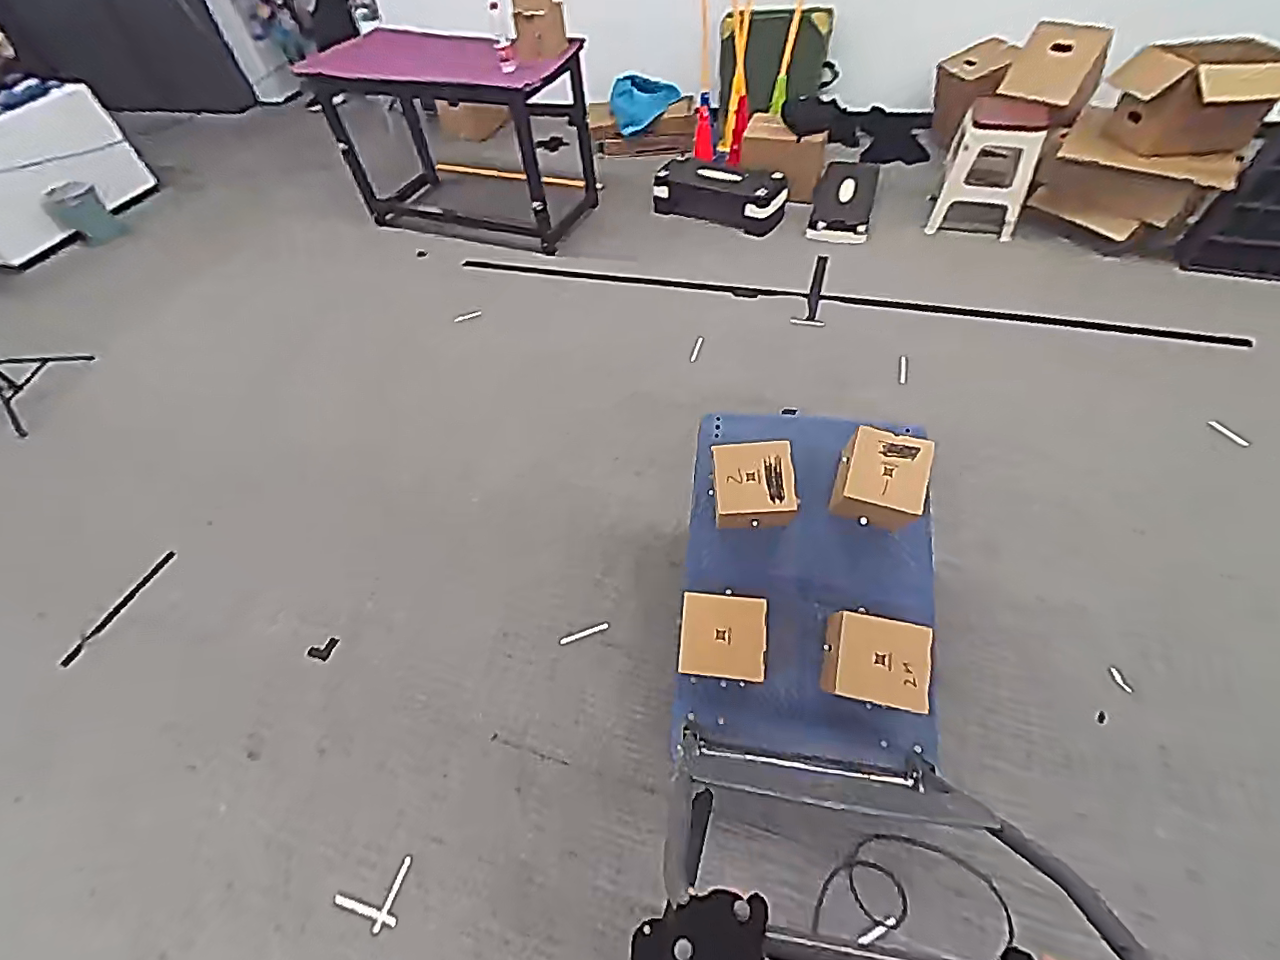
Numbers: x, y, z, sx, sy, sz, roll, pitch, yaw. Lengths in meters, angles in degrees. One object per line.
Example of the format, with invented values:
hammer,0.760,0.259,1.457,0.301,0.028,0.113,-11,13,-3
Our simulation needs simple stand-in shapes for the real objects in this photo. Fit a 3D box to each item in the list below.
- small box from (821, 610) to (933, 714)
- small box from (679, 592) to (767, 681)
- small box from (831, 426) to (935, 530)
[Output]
small box,0.493,0.382,1.145,0.179,0.176,0.168,10,74,10
small box,0.182,0.347,1.197,0.179,0.176,0.168,4,73,7
small box,0.557,0.001,1.260,0.168,0.176,0.179,16,76,12
